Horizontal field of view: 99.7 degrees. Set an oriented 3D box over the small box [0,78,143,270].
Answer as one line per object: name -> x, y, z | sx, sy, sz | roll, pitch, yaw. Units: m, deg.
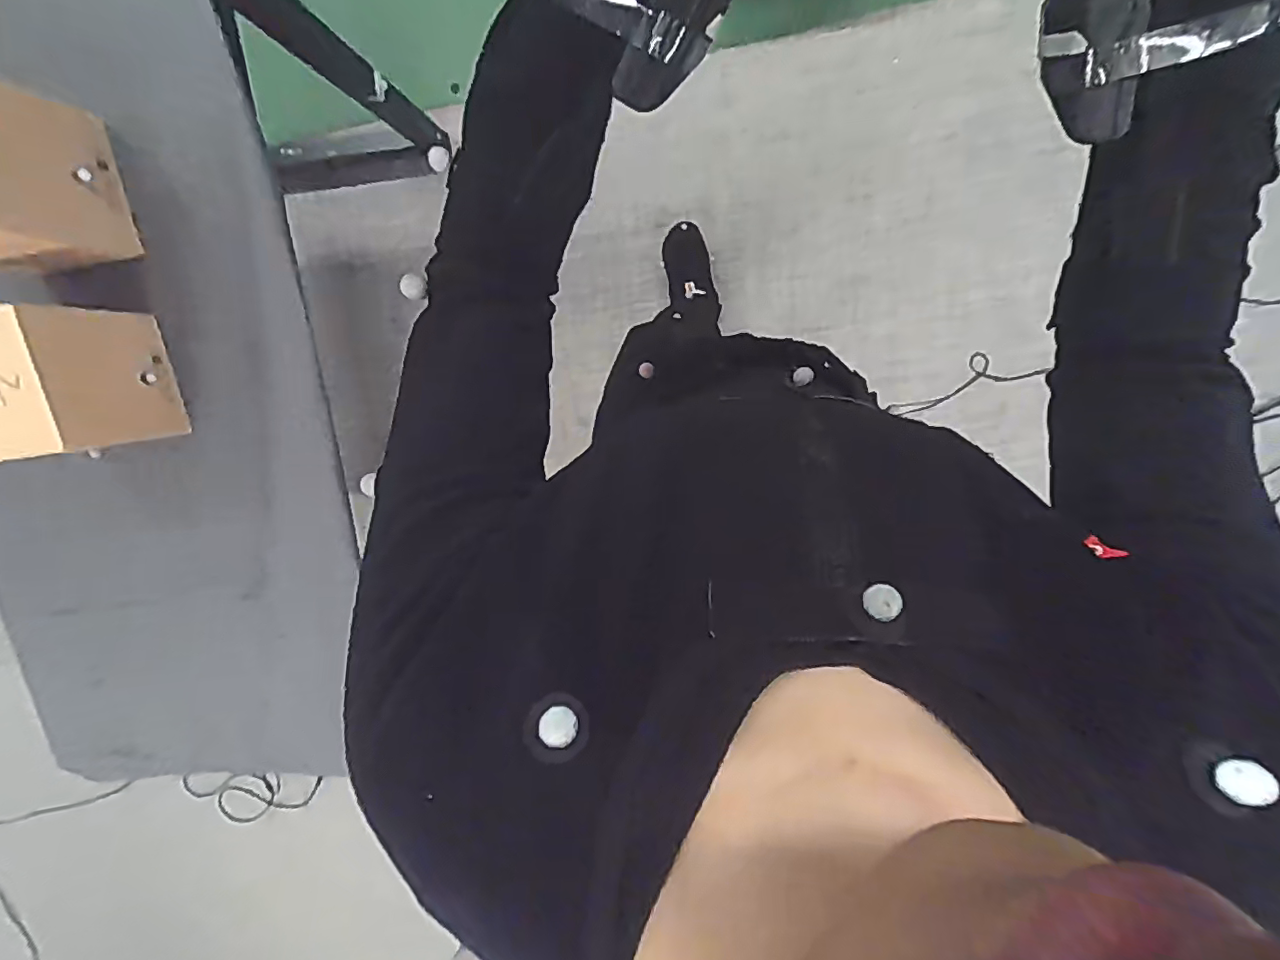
small box -> -0.764, -0.356, 0.642 | 0.179, 0.176, 0.168 | -6, 103, 7
